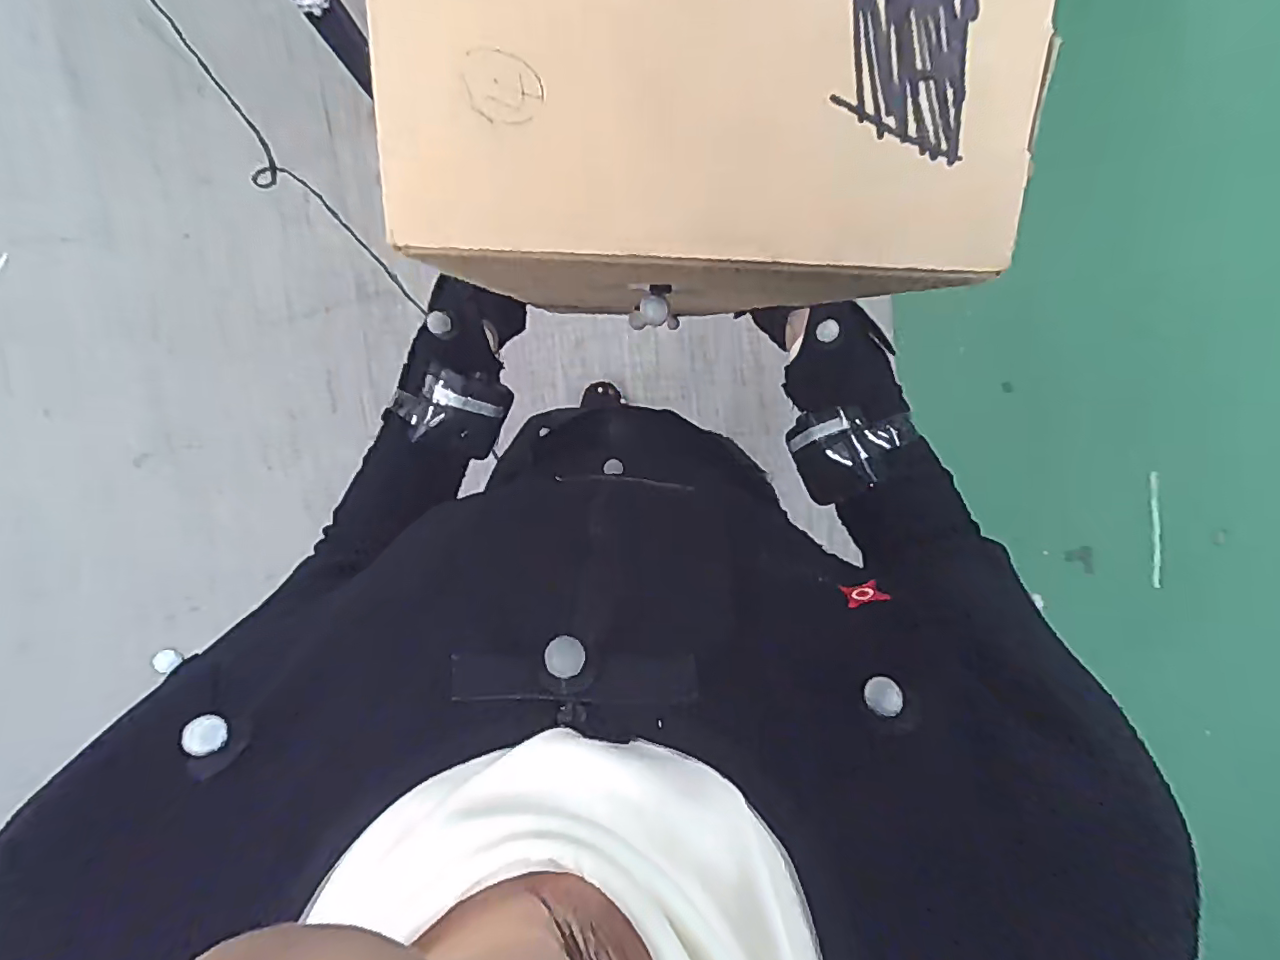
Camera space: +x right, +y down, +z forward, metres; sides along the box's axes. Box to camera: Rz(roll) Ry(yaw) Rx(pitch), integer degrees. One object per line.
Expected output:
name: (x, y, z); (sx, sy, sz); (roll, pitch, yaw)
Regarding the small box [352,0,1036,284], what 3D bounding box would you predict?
small box: (0.013, -0.169, 0.204); (0.179, 0.176, 0.168); (1, 105, -4)
